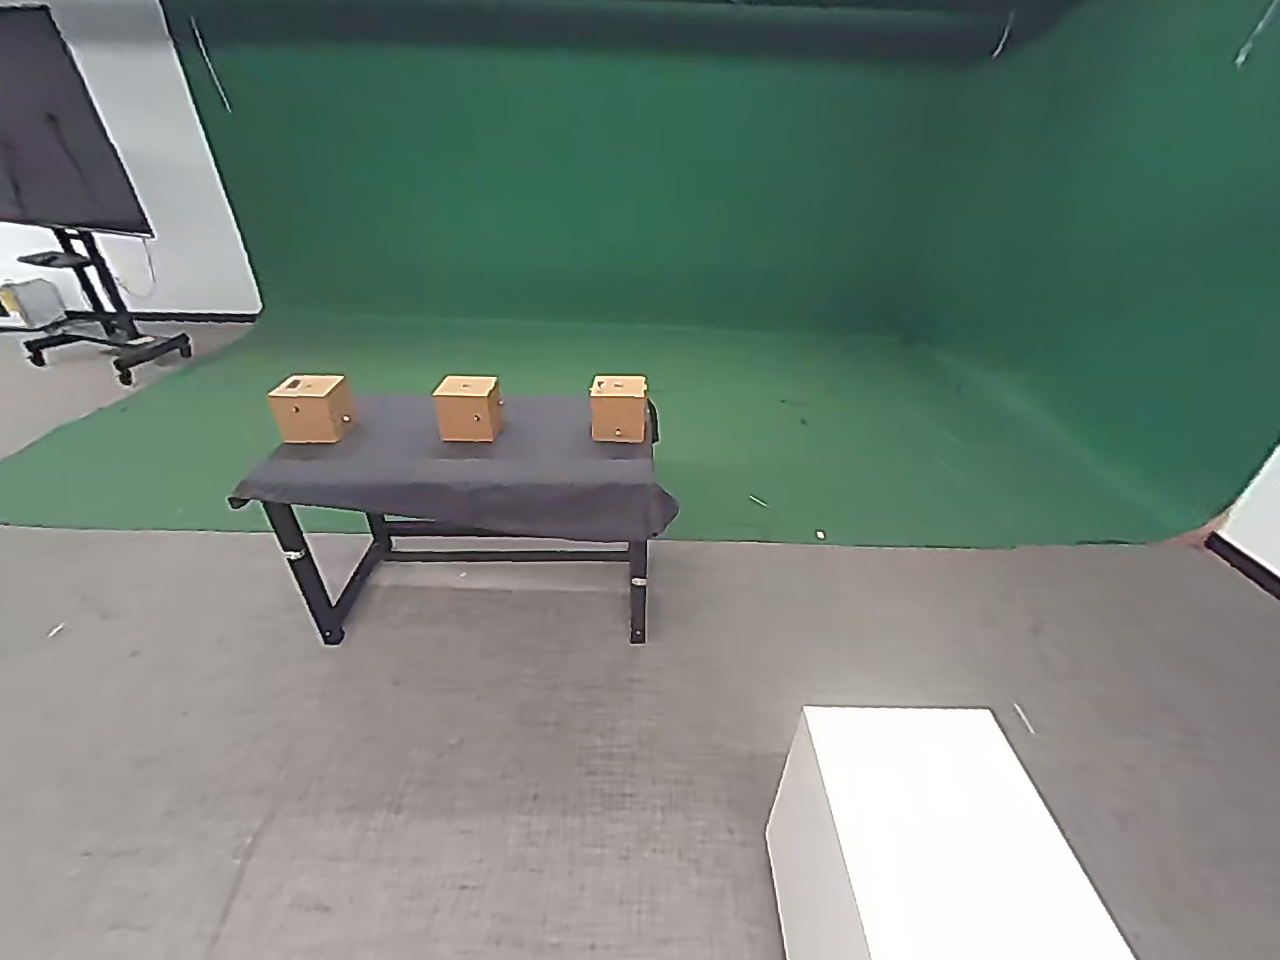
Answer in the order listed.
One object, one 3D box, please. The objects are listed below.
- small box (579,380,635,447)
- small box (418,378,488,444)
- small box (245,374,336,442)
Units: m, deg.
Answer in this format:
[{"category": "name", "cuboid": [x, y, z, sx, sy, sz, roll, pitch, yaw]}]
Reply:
[{"category": "small box", "cuboid": [-0.111, -0.224, 1.824, 0.179, 0.176, 0.168, 3, 32, -1]}, {"category": "small box", "cuboid": [-0.609, -0.228, 1.786, 0.179, 0.176, 0.168, 0, 31, -3]}, {"category": "small box", "cuboid": [-1.110, -0.230, 1.732, 0.179, 0.176, 0.168, 1, 32, -6]}]
